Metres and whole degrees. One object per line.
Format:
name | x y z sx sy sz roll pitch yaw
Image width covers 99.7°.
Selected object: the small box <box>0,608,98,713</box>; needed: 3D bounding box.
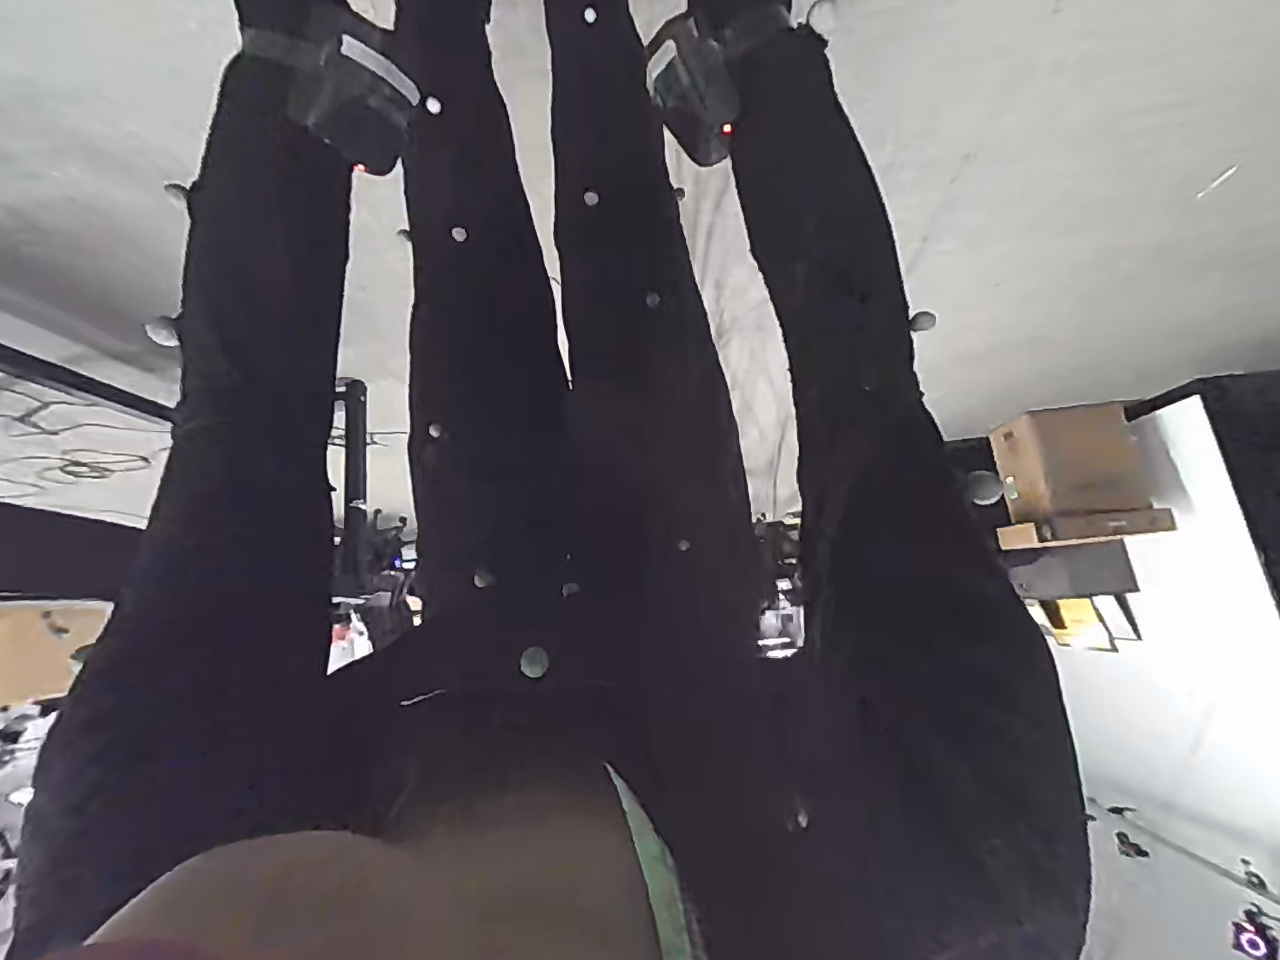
small box | -1.137 0.323 0.972 0.179 0.176 0.168 -7 168 3
